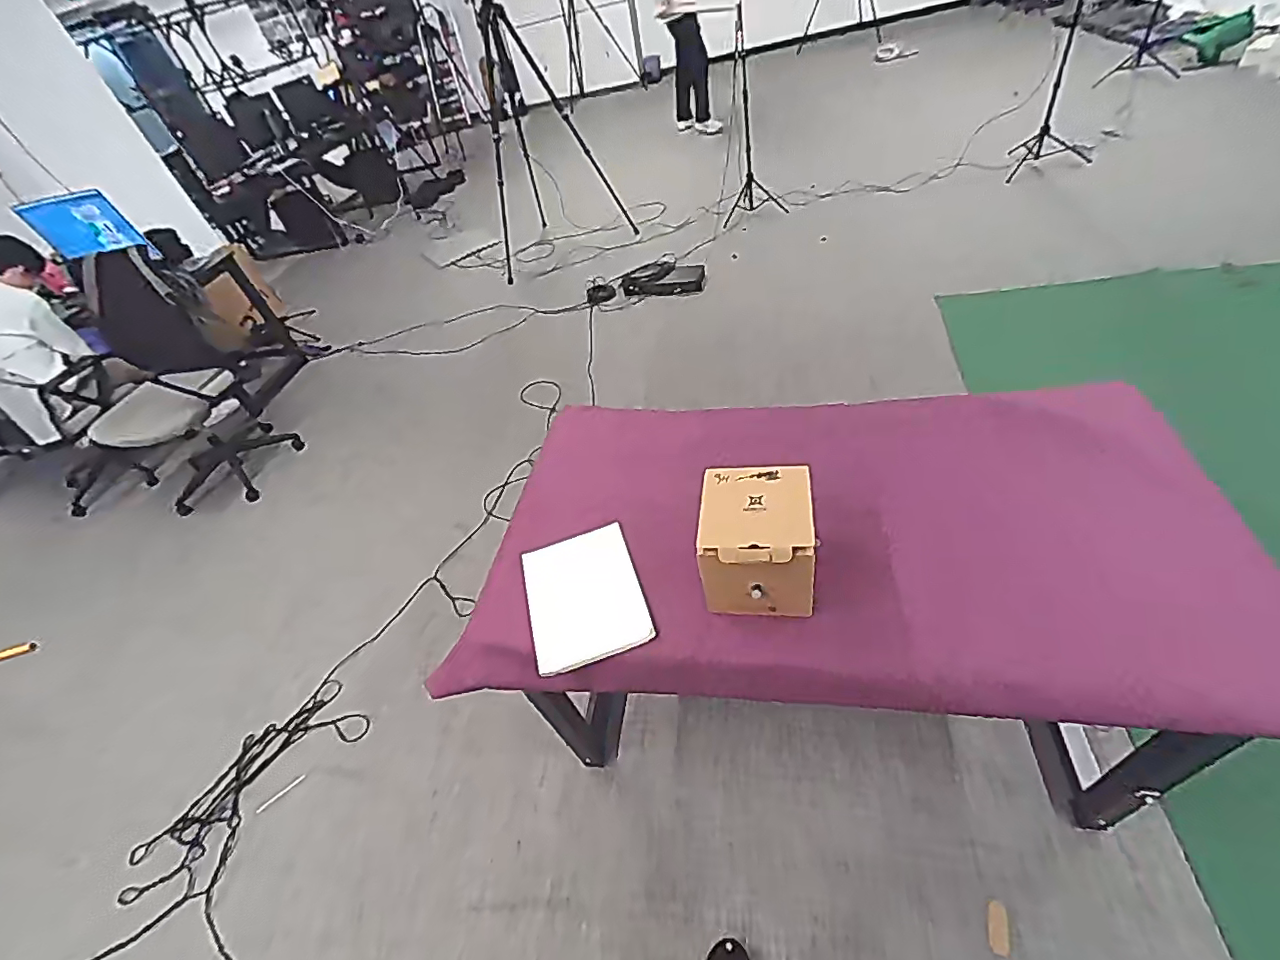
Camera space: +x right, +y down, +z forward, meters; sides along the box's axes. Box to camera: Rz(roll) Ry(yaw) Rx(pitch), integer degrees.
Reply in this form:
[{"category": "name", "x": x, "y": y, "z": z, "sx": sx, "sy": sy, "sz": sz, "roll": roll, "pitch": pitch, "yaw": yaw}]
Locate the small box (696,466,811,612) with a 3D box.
[{"category": "small box", "x": 0.190, "y": 0.097, "z": 0.876, "sx": 0.168, "sy": 0.176, "sz": 0.179, "roll": -1, "pitch": 47, "yaw": 15}]
